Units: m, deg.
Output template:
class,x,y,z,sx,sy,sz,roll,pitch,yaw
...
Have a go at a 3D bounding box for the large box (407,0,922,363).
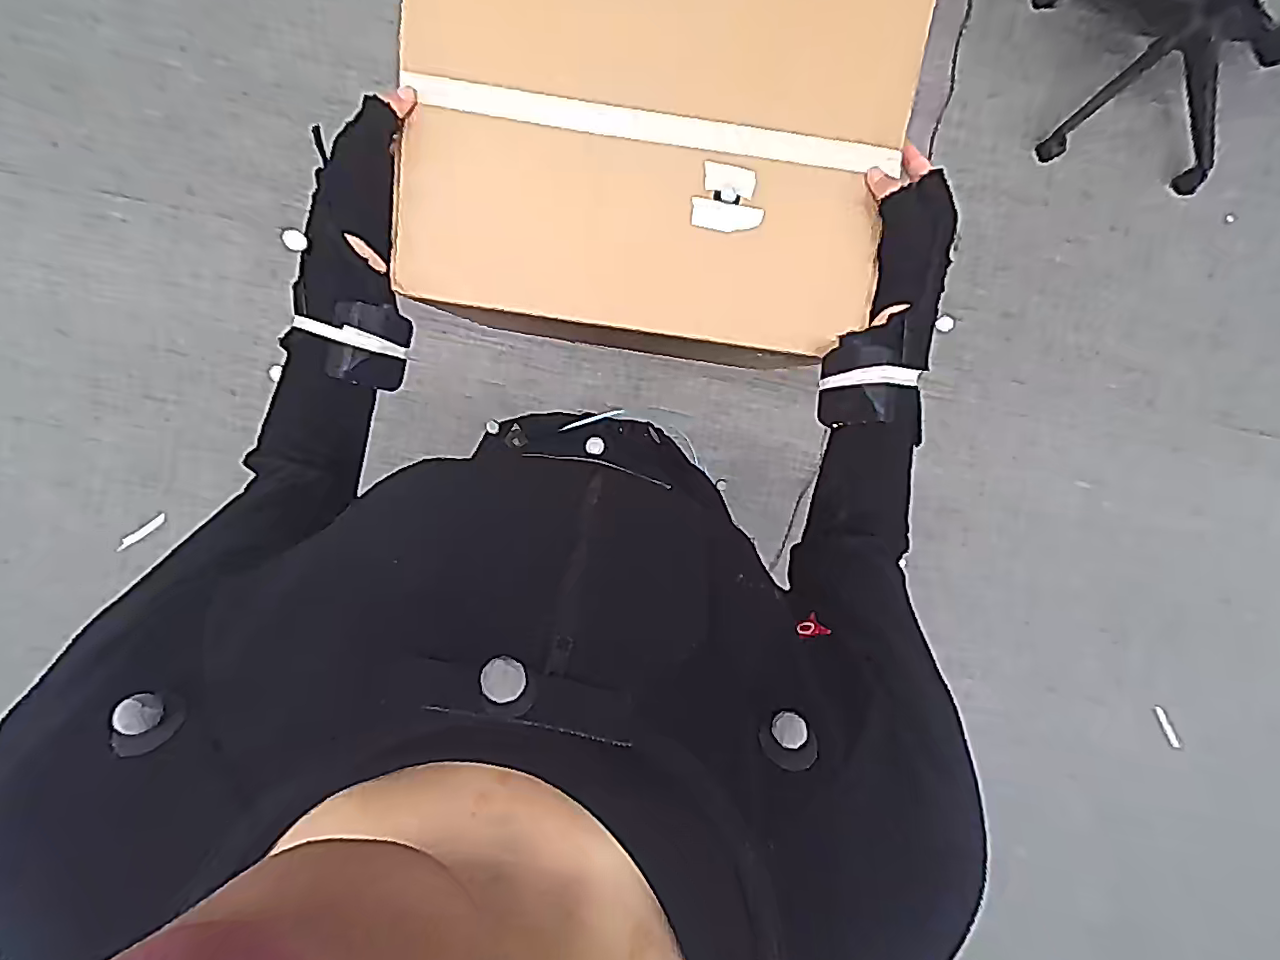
class,x,y,z,sx,sy,sz,roll,pitch,yaw
large box,0.008,-0.313,0.594,0.408,0.320,0.320,8,101,-3
